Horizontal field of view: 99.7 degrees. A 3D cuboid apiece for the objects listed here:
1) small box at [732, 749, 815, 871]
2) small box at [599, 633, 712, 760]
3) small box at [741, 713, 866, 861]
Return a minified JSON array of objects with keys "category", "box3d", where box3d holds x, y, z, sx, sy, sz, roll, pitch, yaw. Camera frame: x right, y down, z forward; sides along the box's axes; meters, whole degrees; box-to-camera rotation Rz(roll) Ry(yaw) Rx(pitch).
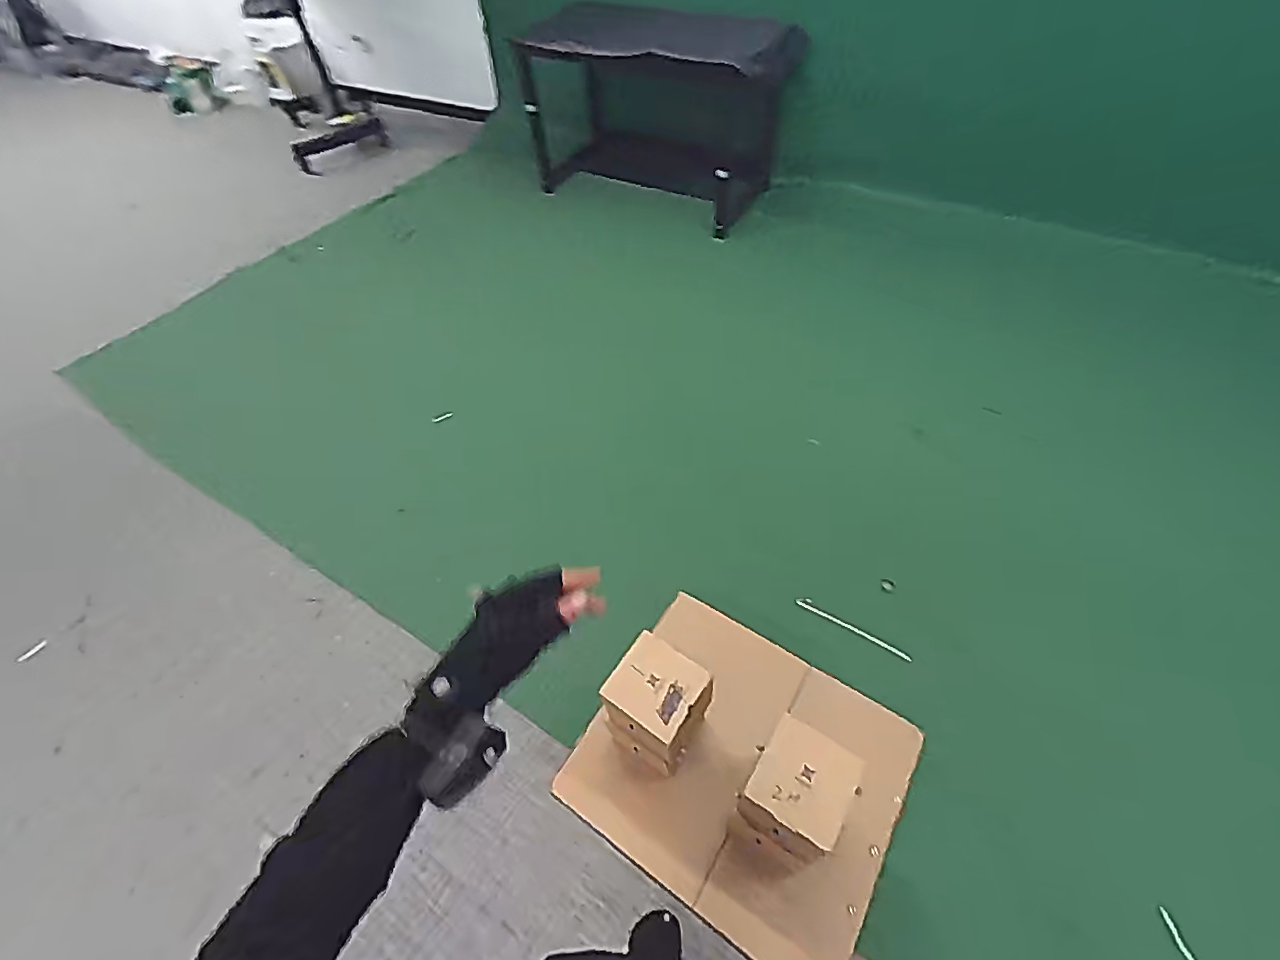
[{"category":"small box","box3d":[0.307,0.699,1.160,0.168,0.176,0.179,24,58,22]},{"category":"small box","box3d":[0.039,0.466,1.150,0.179,0.176,0.168,27,59,26]},{"category":"small box","box3d":[0.304,0.589,1.035,0.168,0.176,0.179,26,58,23]}]
